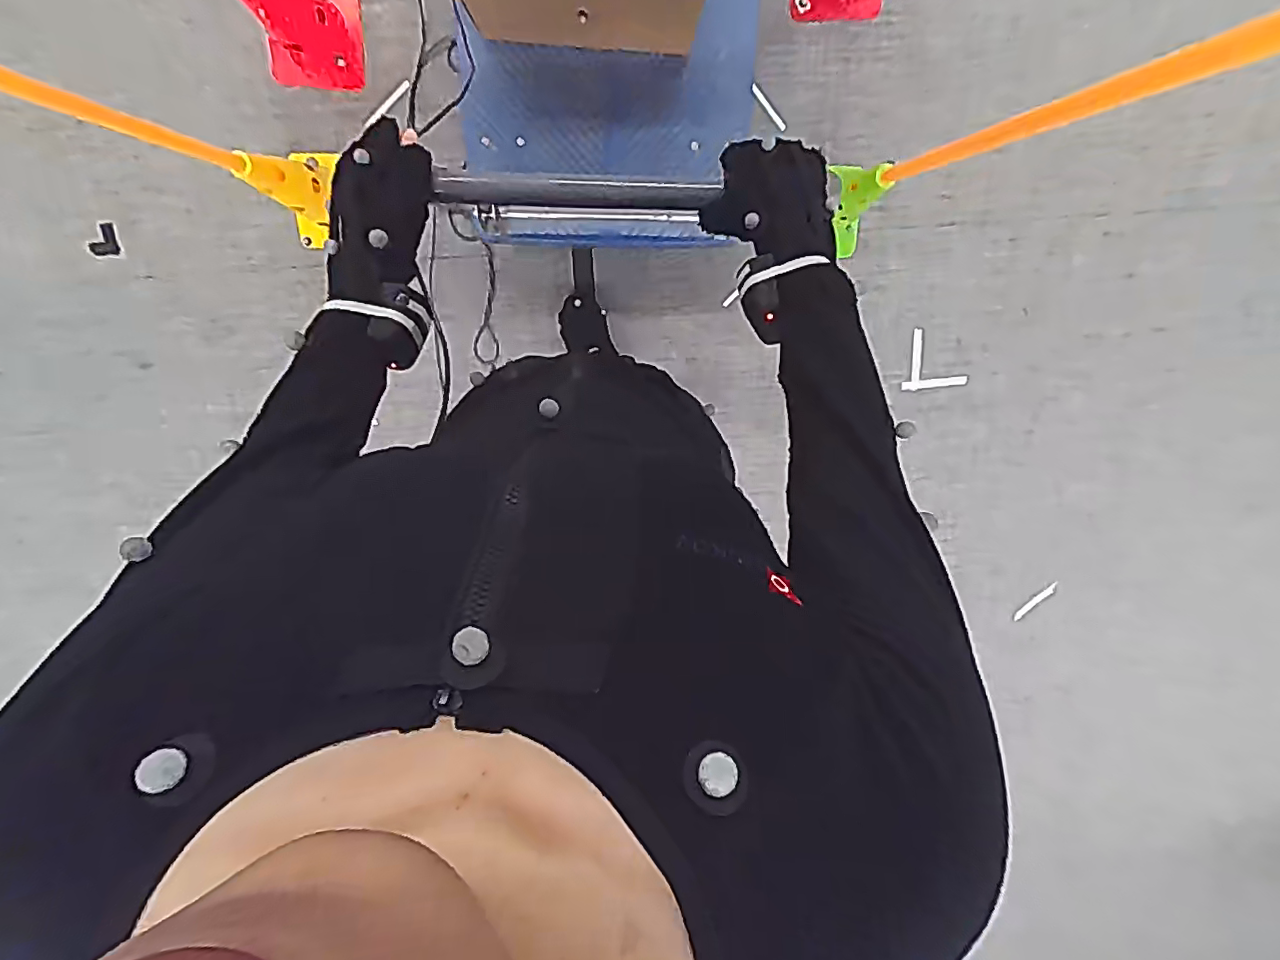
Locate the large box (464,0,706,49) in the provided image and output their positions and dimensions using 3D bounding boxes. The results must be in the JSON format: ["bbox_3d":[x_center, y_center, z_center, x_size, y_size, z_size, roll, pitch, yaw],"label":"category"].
[{"bbox_3d":[-0.089,-0.934,0.860,0.408,0.320,0.320,2,109,-2],"label":"large box"}]

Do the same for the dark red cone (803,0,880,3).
[{"bbox_3d":[0.435,-1.060,0.966,0.201,0.394,0.202,-4,108,-2],"label":"dark red cone"}]

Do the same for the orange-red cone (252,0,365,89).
[{"bbox_3d":[-0.689,-0.917,1.000,0.198,0.360,0.199,4,106,-4],"label":"orange-red cone"}]

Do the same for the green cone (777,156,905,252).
[{"bbox_3d":[0.440,-0.604,1.131,0.202,0.368,0.200,0,108,-3],"label":"green cone"}]
